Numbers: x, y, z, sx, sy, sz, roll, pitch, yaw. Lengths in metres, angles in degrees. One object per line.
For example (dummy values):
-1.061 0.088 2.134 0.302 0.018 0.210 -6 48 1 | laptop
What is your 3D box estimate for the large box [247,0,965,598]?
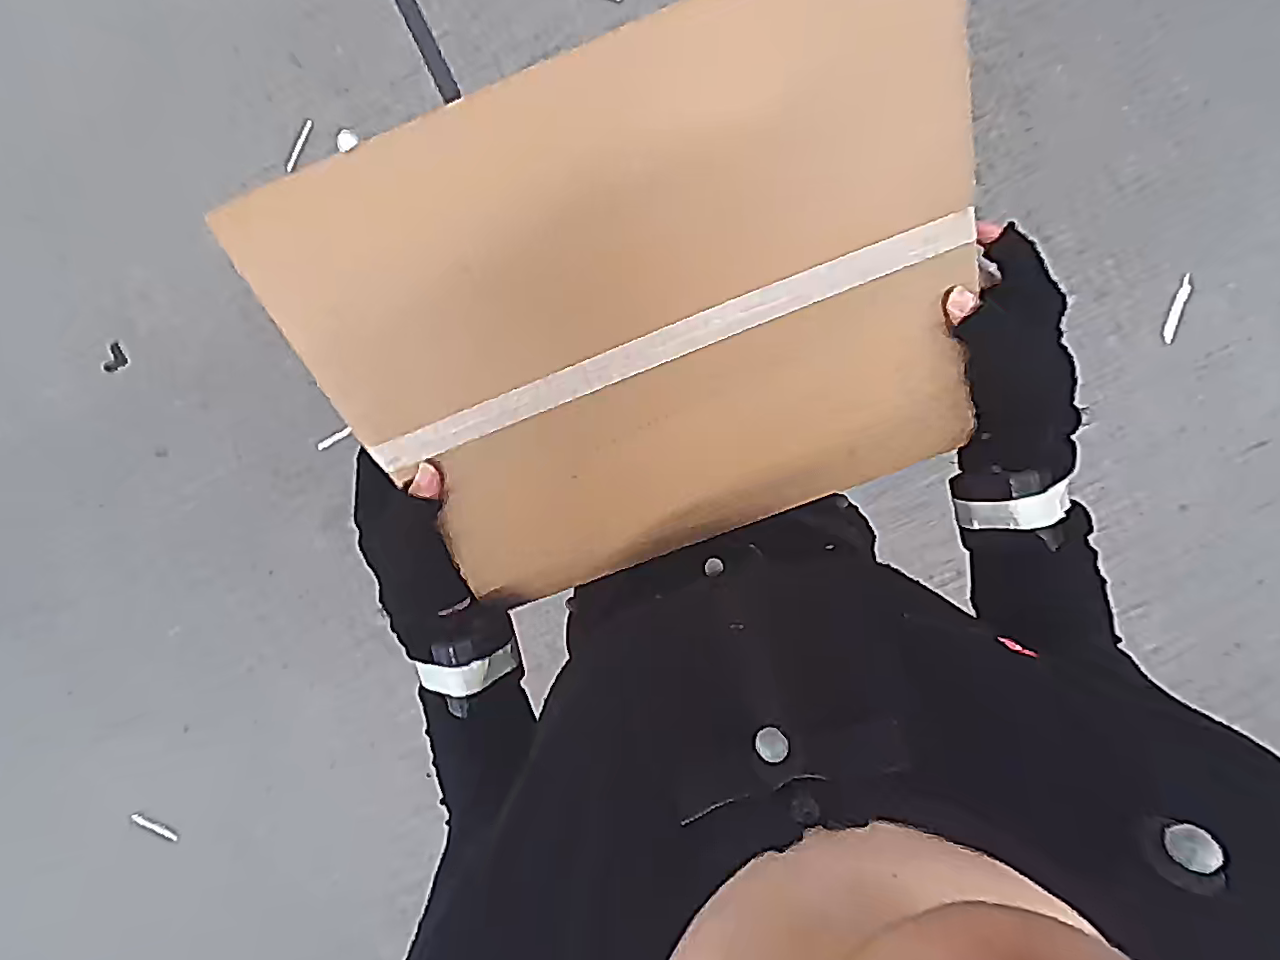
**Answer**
-0.005 -0.164 0.486 0.408 0.320 0.320 -21 120 4 | large box
